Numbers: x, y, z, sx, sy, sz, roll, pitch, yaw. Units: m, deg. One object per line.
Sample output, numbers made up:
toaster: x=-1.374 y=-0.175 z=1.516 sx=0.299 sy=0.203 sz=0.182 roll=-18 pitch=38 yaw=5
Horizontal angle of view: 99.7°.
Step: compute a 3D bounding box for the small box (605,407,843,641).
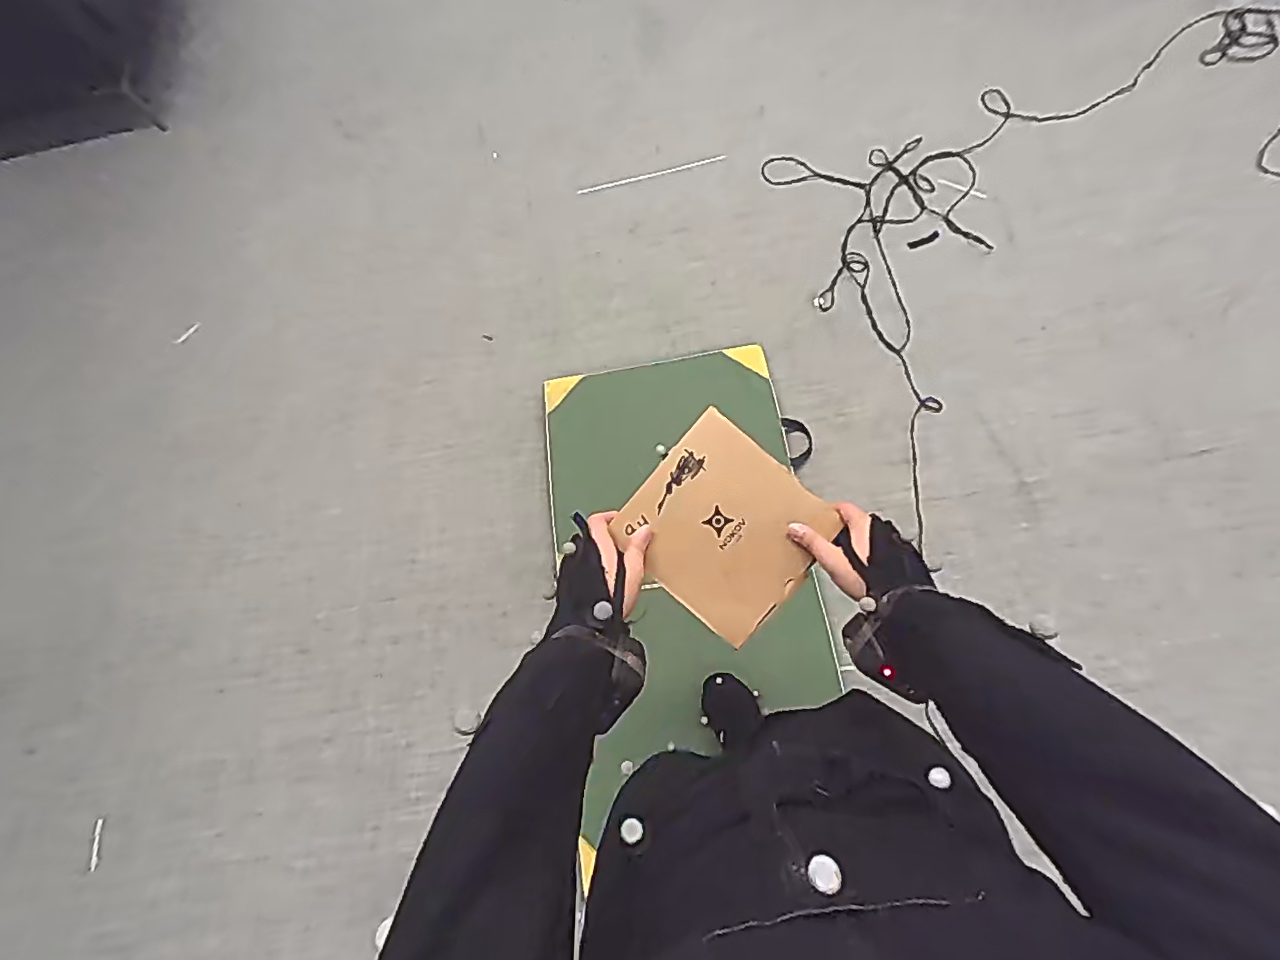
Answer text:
small box: x=0.085 y=0.043 z=0.607 sx=0.179 sy=0.176 sz=0.168 roll=41 pitch=90 yaw=2
